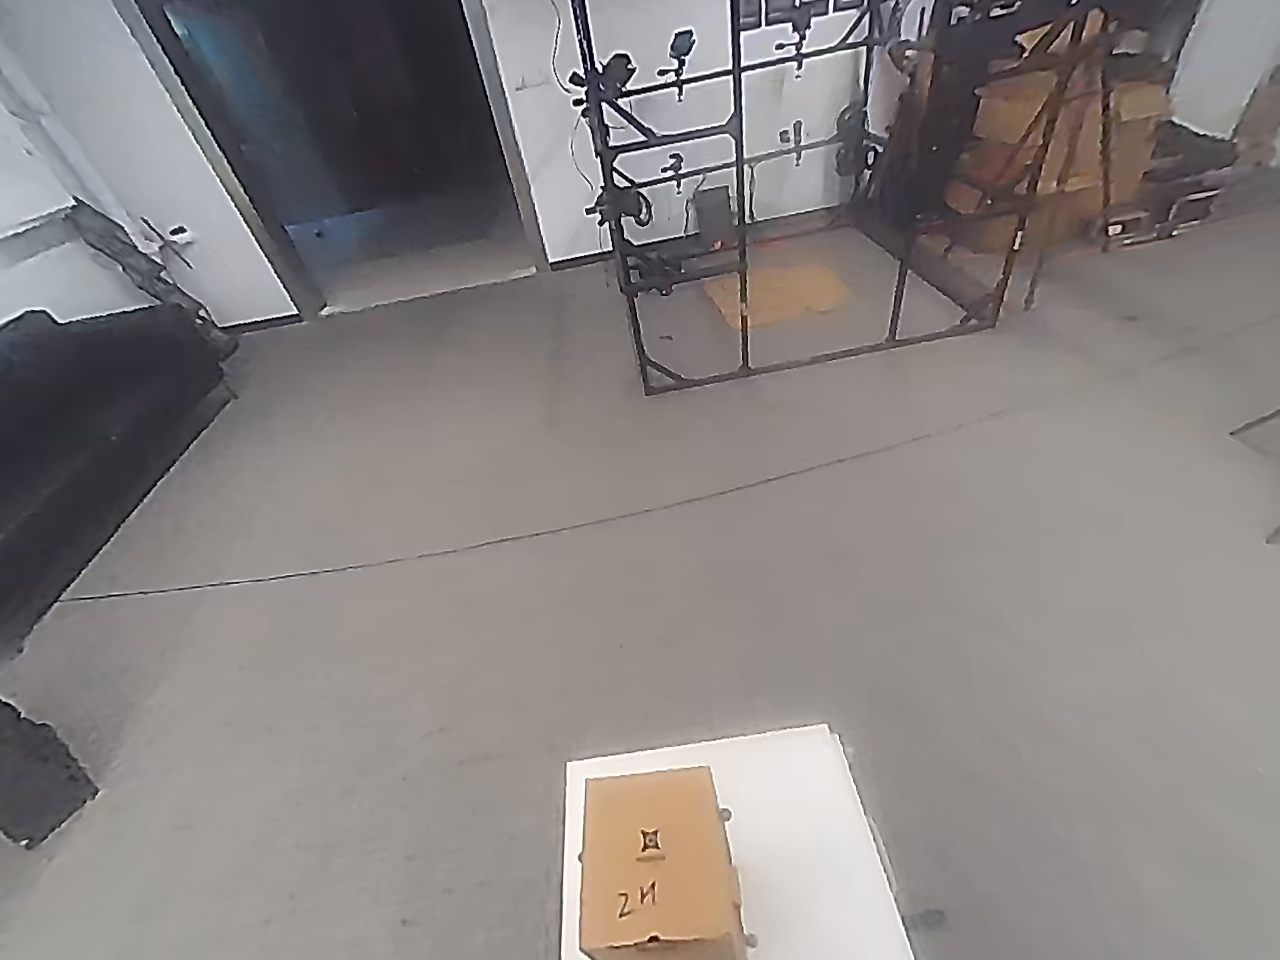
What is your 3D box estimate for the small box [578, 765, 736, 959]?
[{"bbox_3d":[0.025,0.493,0.687,0.168,0.176,0.179,-9,40,5],"label":"small box"}]
